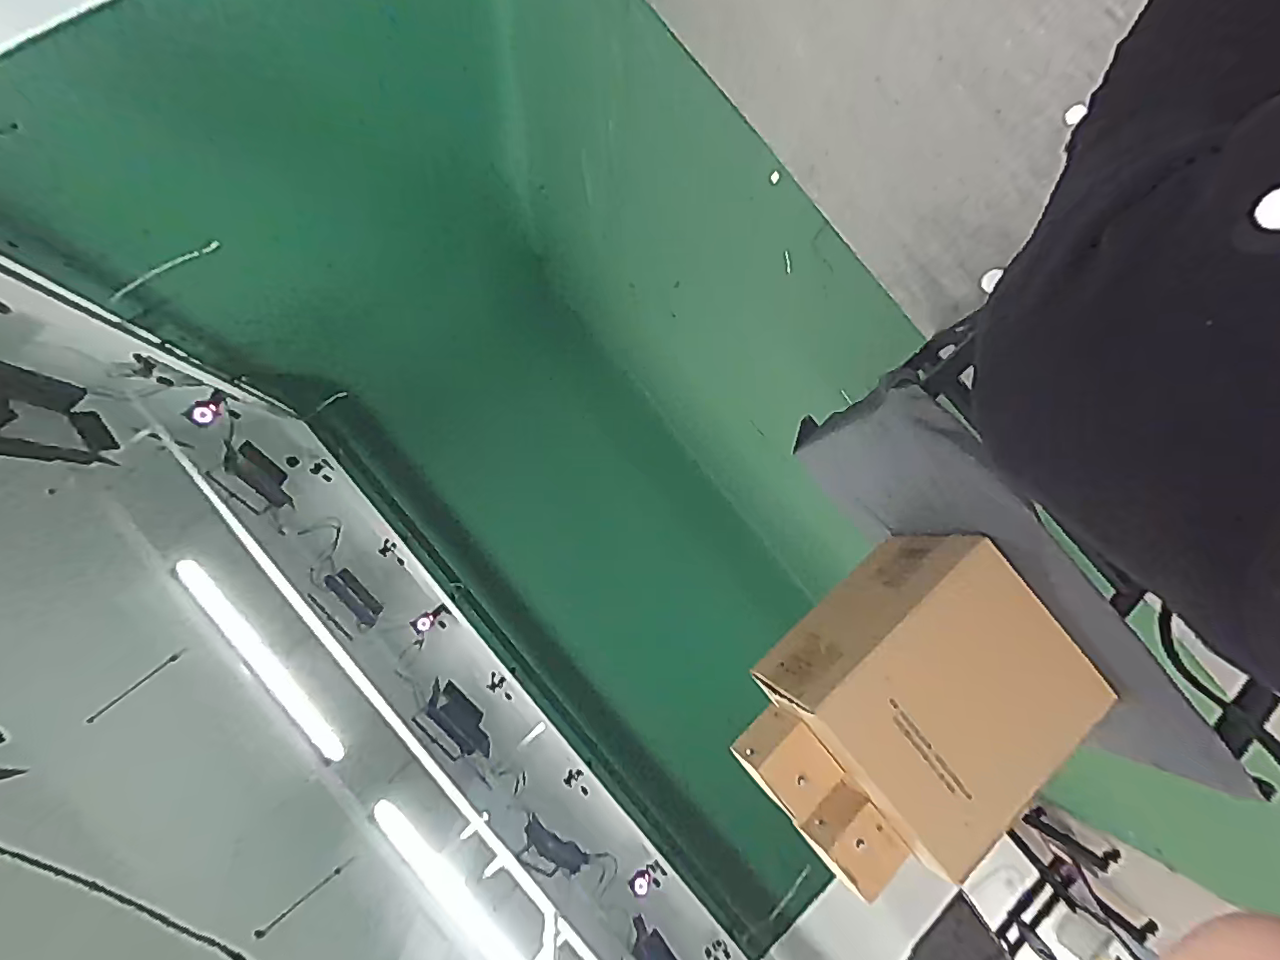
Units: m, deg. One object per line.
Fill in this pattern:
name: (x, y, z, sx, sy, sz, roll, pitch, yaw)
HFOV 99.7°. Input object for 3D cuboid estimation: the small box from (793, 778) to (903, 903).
small box: (0.536, 0.907, 1.382, 0.168, 0.176, 0.179, 52, 166, 0)

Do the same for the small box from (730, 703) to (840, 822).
small box: (0.371, 0.710, 1.380, 0.179, 0.176, 0.168, 50, 165, -2)
